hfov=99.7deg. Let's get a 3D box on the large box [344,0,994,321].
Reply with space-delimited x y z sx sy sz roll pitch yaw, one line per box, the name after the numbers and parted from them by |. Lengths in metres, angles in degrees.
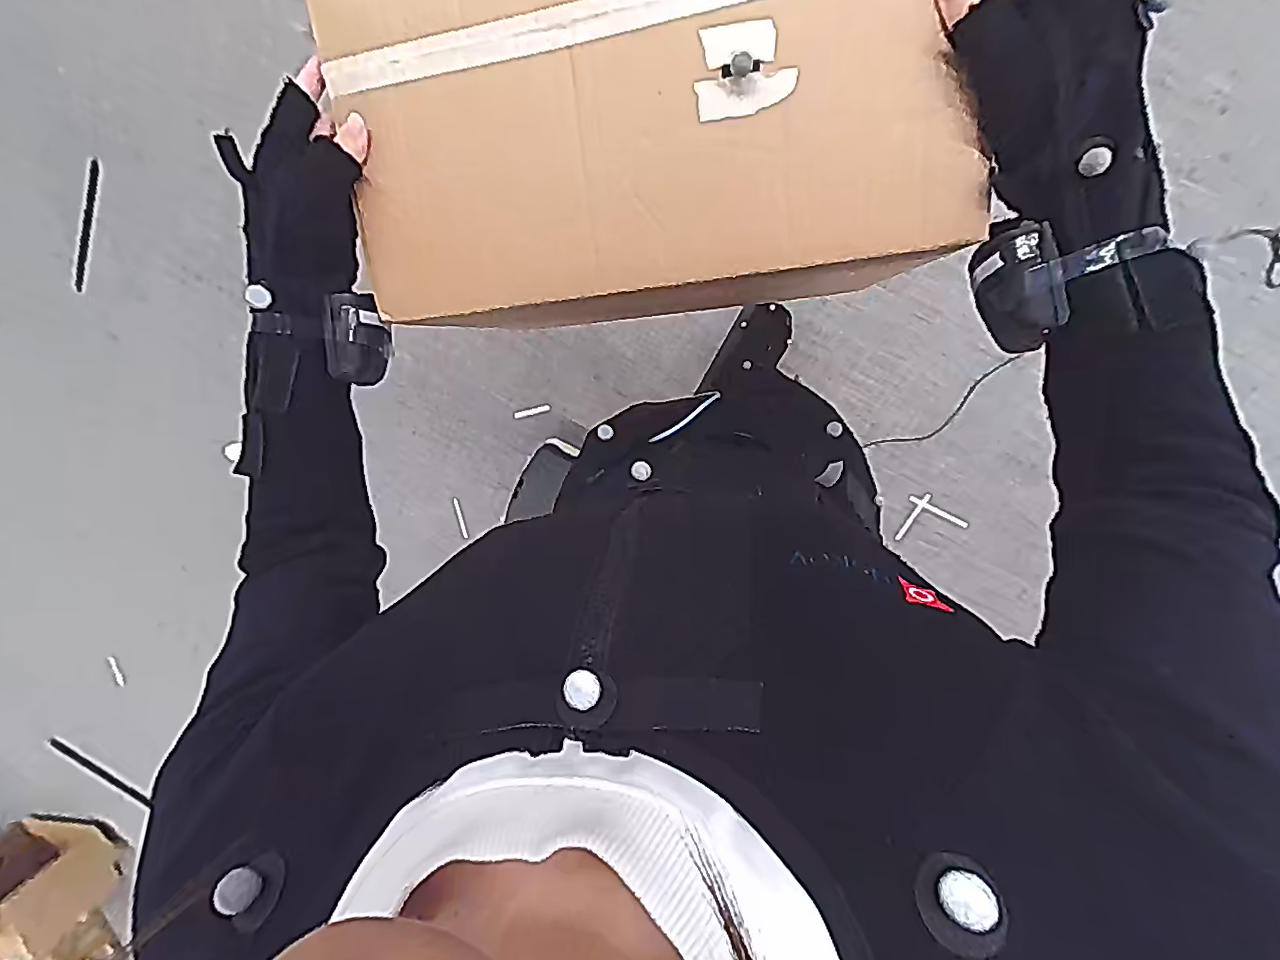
0.023 -0.328 0.475 0.408 0.320 0.320 -4 105 10 | large box
